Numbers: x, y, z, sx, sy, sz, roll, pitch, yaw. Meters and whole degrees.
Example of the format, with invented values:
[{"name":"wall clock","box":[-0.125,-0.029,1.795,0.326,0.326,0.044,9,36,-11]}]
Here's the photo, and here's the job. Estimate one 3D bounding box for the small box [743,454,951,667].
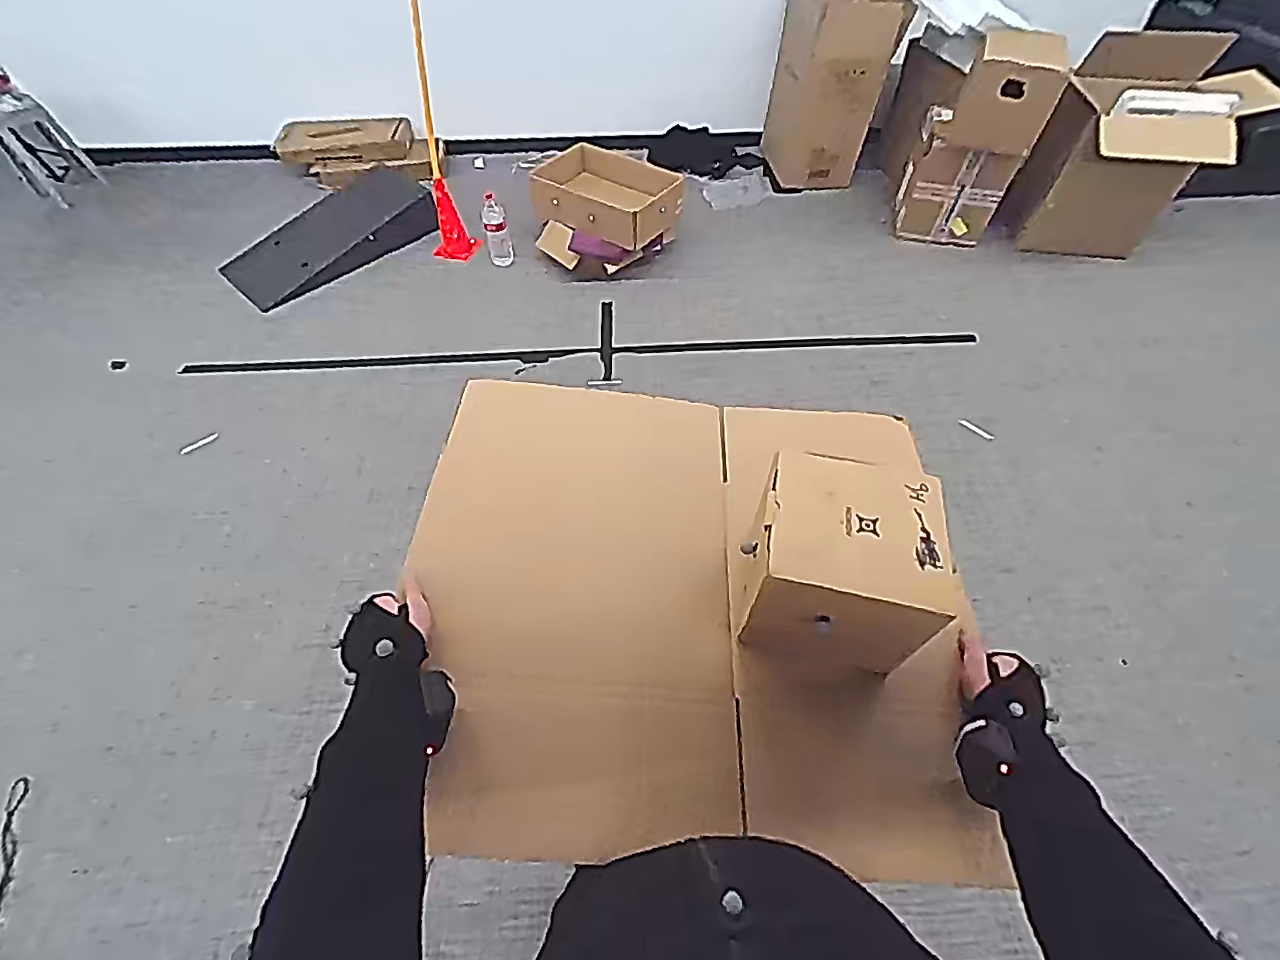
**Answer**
[{"name":"small box","box":[0.221,0.096,0.618,0.179,0.176,0.168,10,54,8]}]
